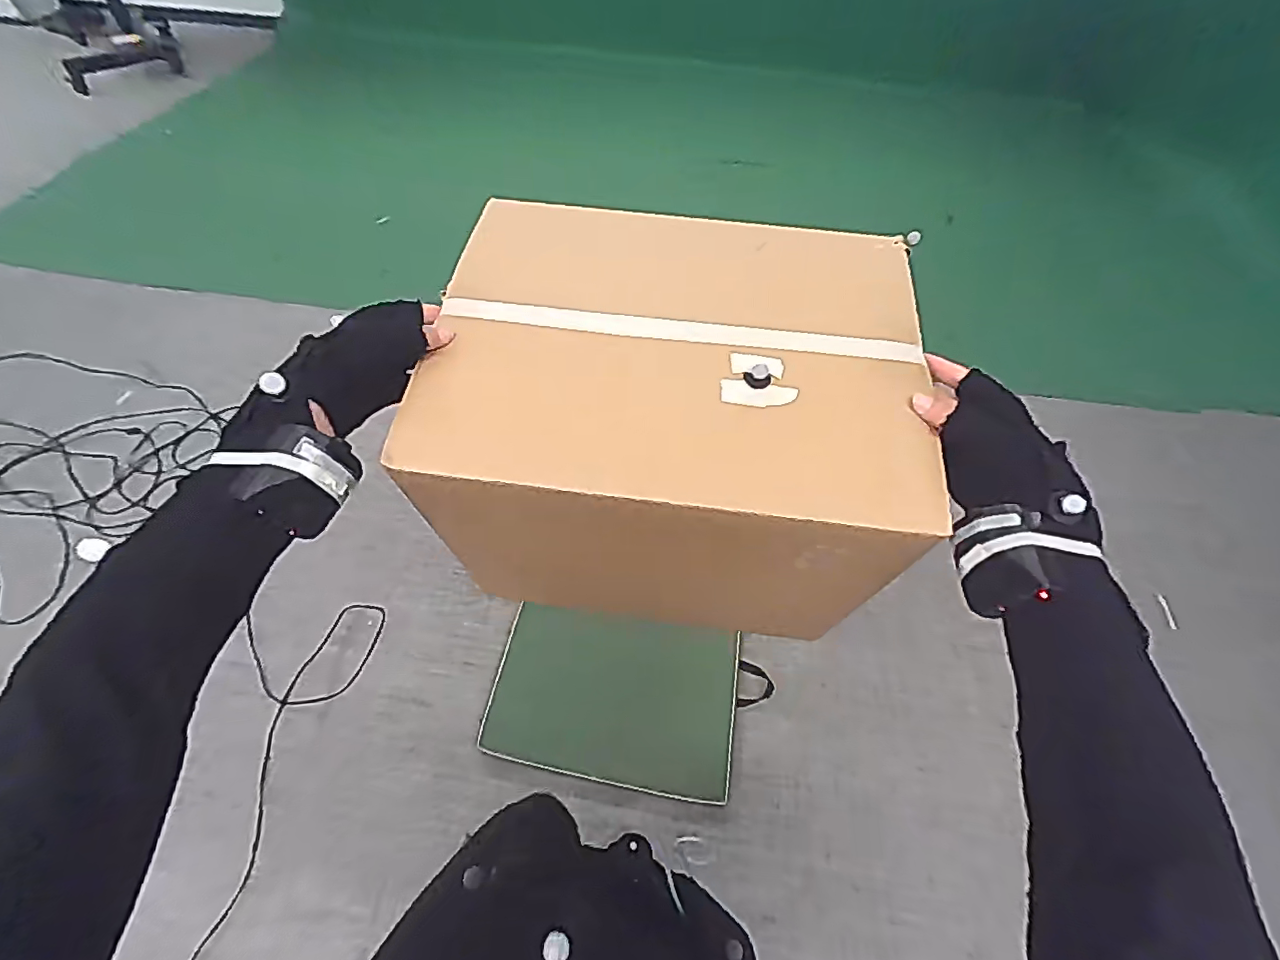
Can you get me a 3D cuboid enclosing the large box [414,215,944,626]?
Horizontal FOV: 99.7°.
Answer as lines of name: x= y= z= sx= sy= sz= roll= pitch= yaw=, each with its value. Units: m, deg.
large box: x=0.036 y=-0.045 z=0.598 sx=0.408 sy=0.320 sz=0.320 roll=7 pitch=62 yaw=2
